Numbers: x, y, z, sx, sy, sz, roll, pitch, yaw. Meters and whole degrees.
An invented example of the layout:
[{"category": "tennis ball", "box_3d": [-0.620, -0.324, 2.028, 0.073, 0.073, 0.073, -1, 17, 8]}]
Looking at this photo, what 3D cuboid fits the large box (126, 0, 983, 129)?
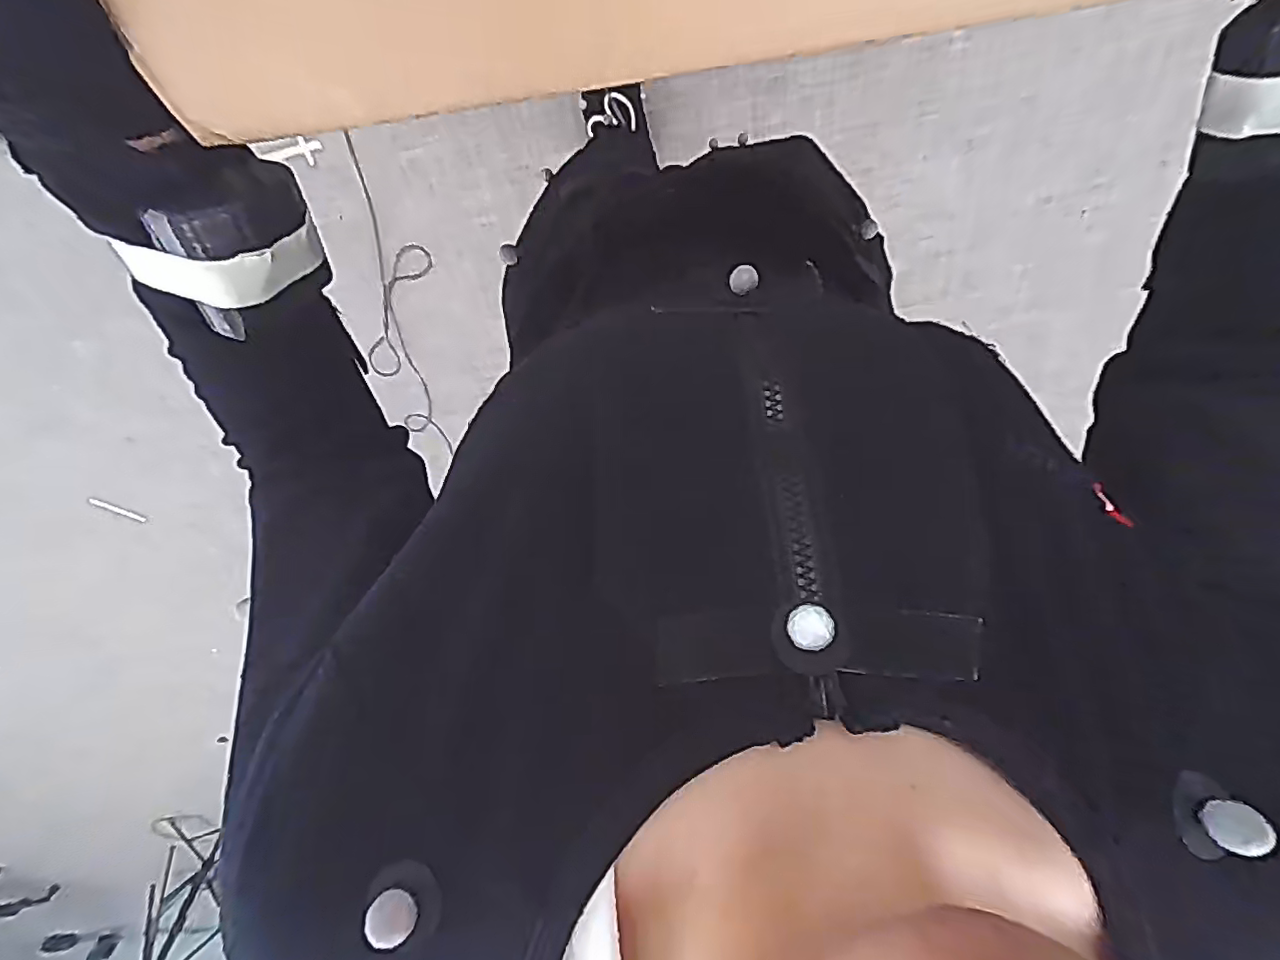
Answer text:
[{"category": "large box", "box_3d": [-0.001, -0.371, 0.156, 0.408, 0.320, 0.320, -7, 147, 3]}]
